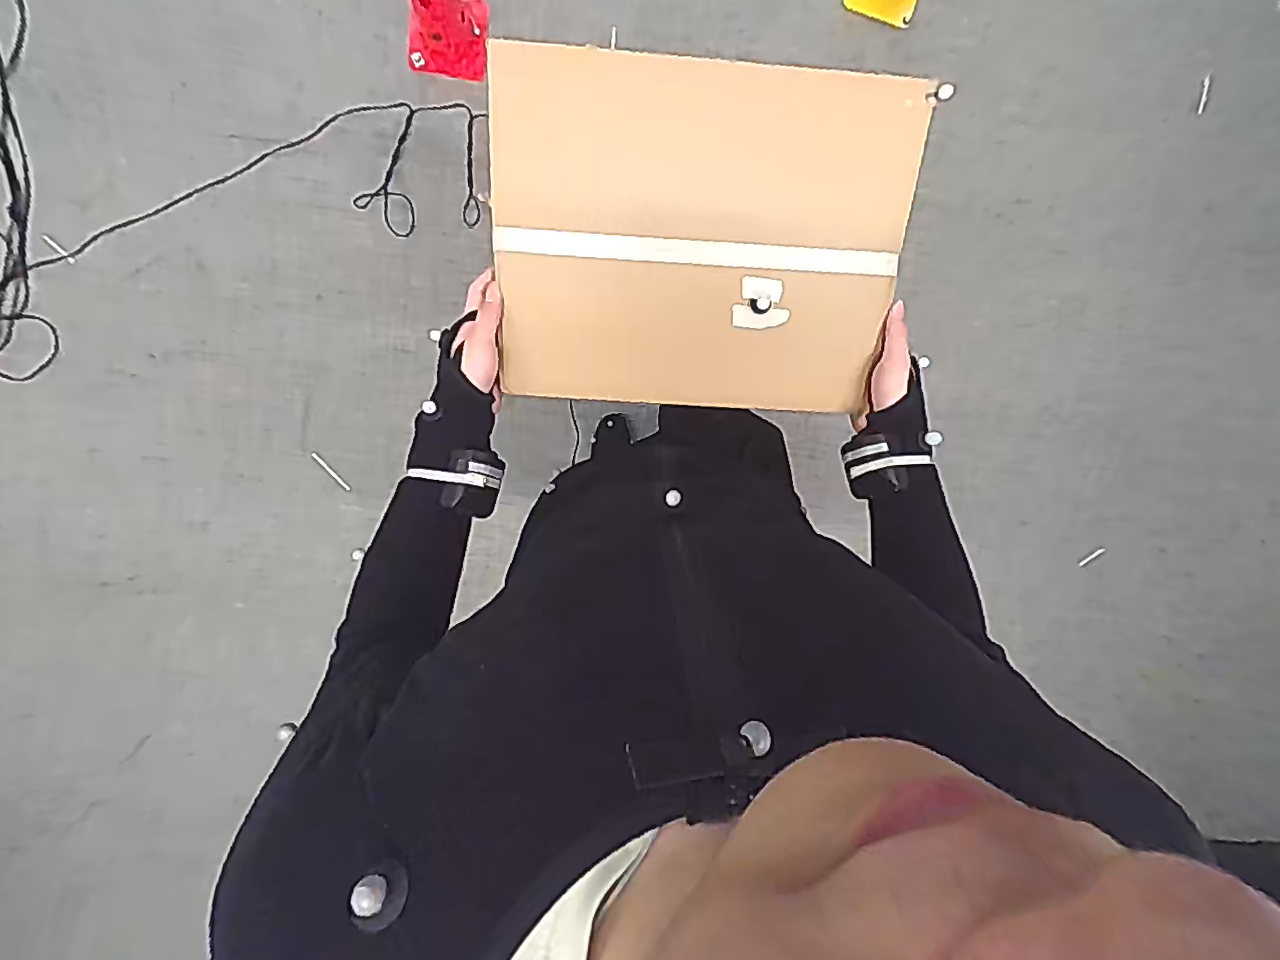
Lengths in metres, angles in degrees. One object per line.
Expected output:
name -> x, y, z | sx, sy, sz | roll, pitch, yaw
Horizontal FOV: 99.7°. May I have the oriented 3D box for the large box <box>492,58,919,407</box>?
large box -> 0.050, -0.282, 0.685 | 0.408, 0.320, 0.320 | 2, 112, -4
